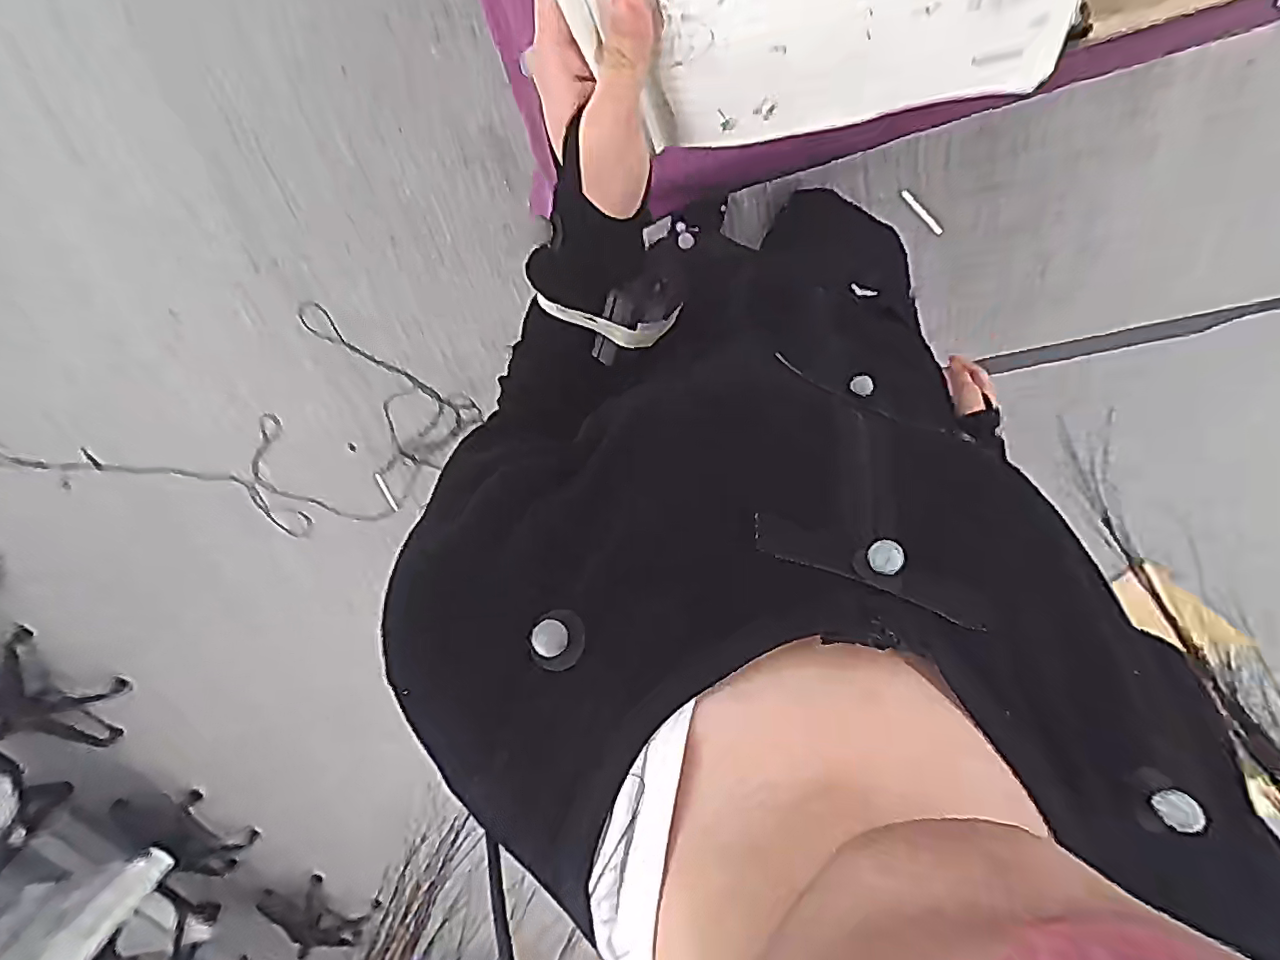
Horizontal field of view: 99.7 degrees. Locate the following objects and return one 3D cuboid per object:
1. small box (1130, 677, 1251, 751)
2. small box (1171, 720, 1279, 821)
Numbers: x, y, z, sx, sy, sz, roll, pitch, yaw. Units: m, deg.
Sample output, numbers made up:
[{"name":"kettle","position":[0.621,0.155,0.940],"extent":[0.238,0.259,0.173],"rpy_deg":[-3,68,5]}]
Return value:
[{"name":"small box","position":[1.687,0.737,1.666],"extent":[0.179,0.176,0.168],"rpy_deg":[28,118,-13]},{"name":"small box","position":[1.676,0.809,1.520],"extent":[0.179,0.176,0.168],"rpy_deg":[30,116,-14]}]
